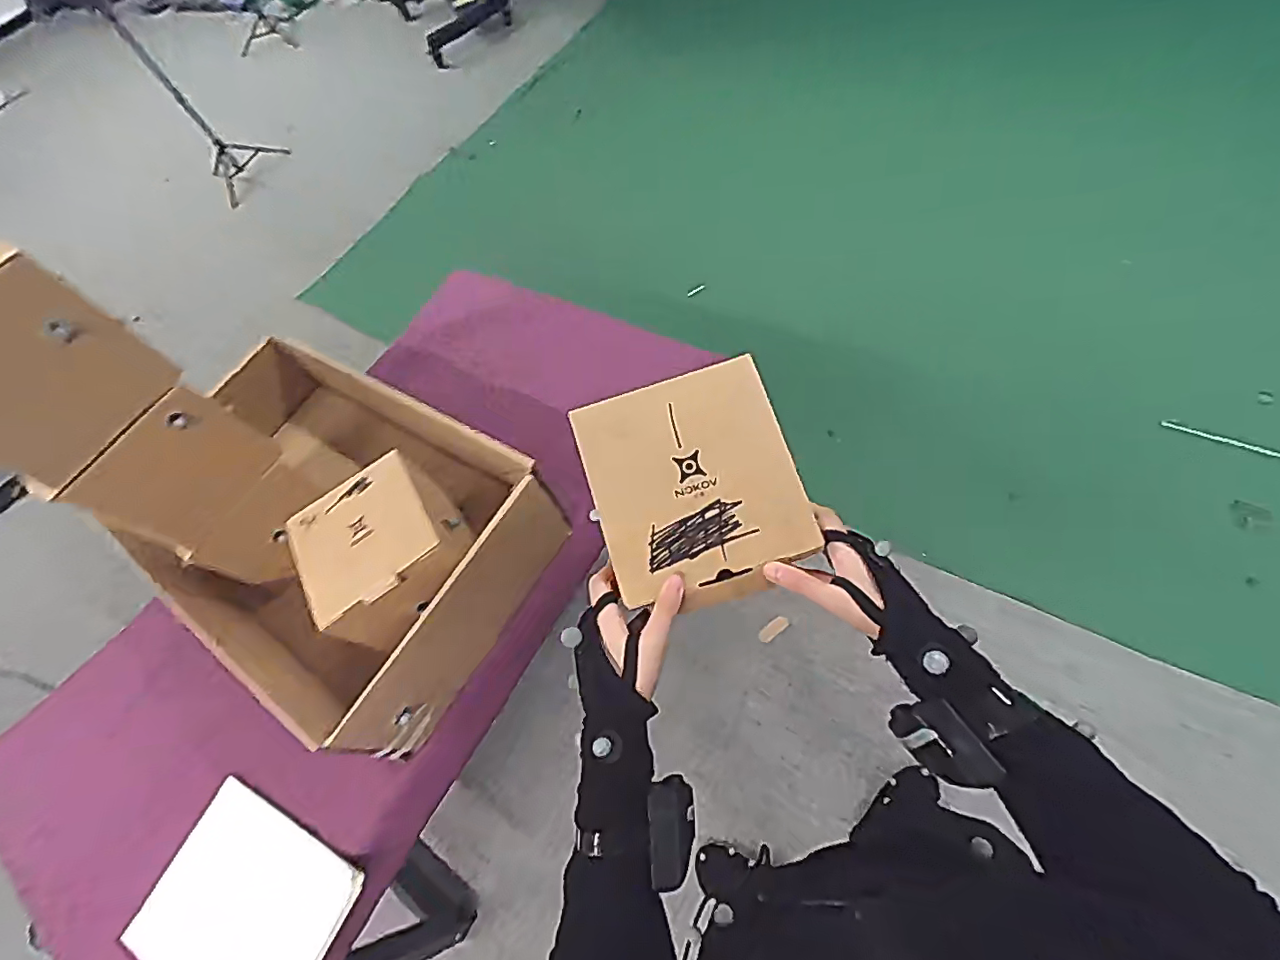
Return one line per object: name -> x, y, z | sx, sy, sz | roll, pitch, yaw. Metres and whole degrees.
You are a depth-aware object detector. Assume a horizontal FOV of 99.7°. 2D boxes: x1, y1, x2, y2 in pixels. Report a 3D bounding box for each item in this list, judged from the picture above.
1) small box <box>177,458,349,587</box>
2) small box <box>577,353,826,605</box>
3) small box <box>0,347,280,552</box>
small box -> -0.597, 0.046, 0.831 | 0.179, 0.176, 0.168 | 26, 70, 22
small box -> 0.053, 0.012, 0.517 | 0.168, 0.176, 0.179 | -17, 75, 1
small box -> -0.621, -0.032, 0.692 | 0.168, 0.176, 0.179 | 23, 69, 22
